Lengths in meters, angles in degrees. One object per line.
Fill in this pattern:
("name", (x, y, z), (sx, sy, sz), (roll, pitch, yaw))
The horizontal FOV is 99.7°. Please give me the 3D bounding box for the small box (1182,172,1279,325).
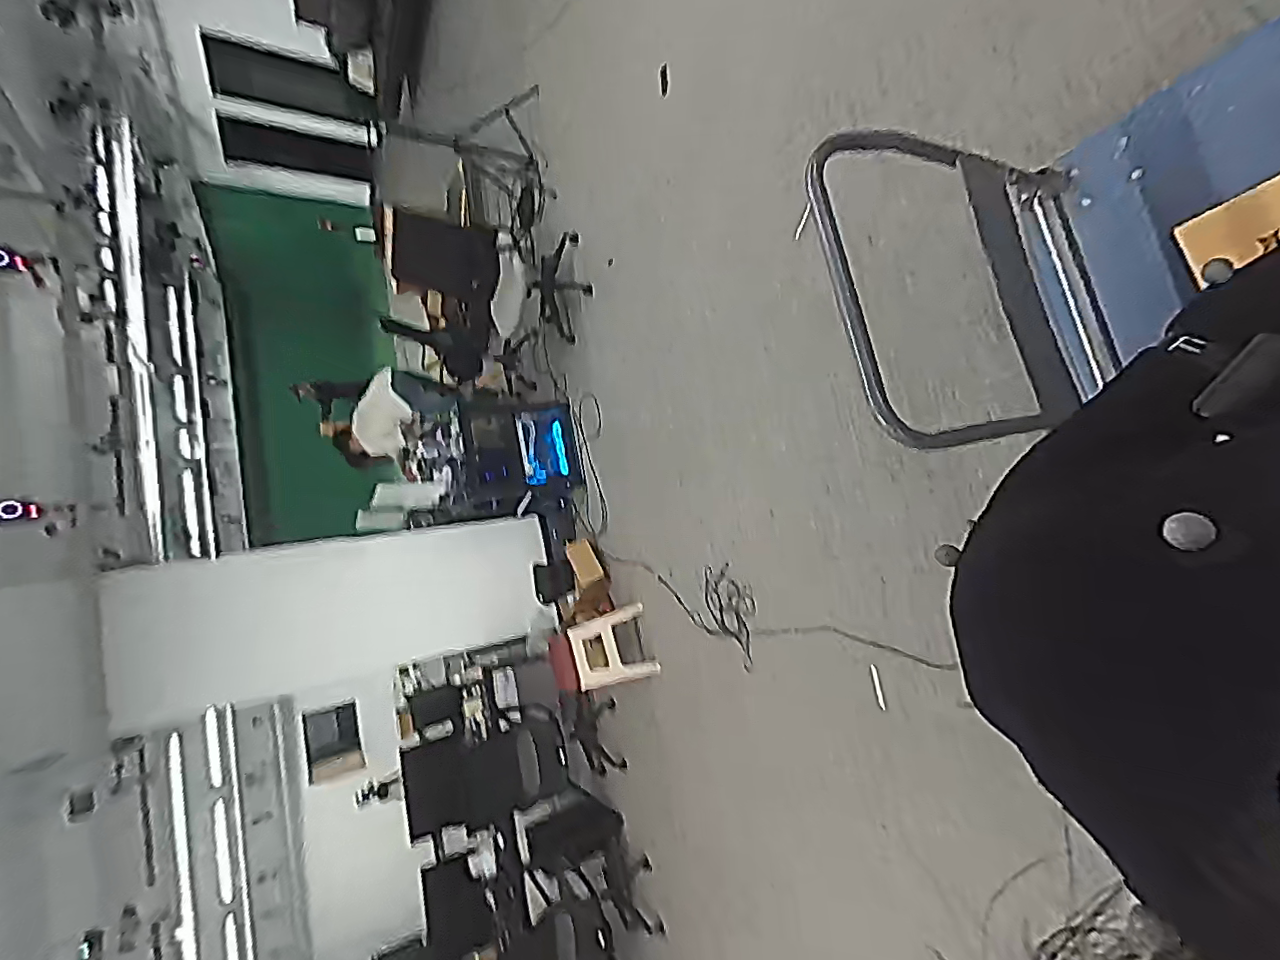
("small box", (0.967, -0.347, 0.801), (0.168, 0.176, 0.179), (-31, 70, 56))
